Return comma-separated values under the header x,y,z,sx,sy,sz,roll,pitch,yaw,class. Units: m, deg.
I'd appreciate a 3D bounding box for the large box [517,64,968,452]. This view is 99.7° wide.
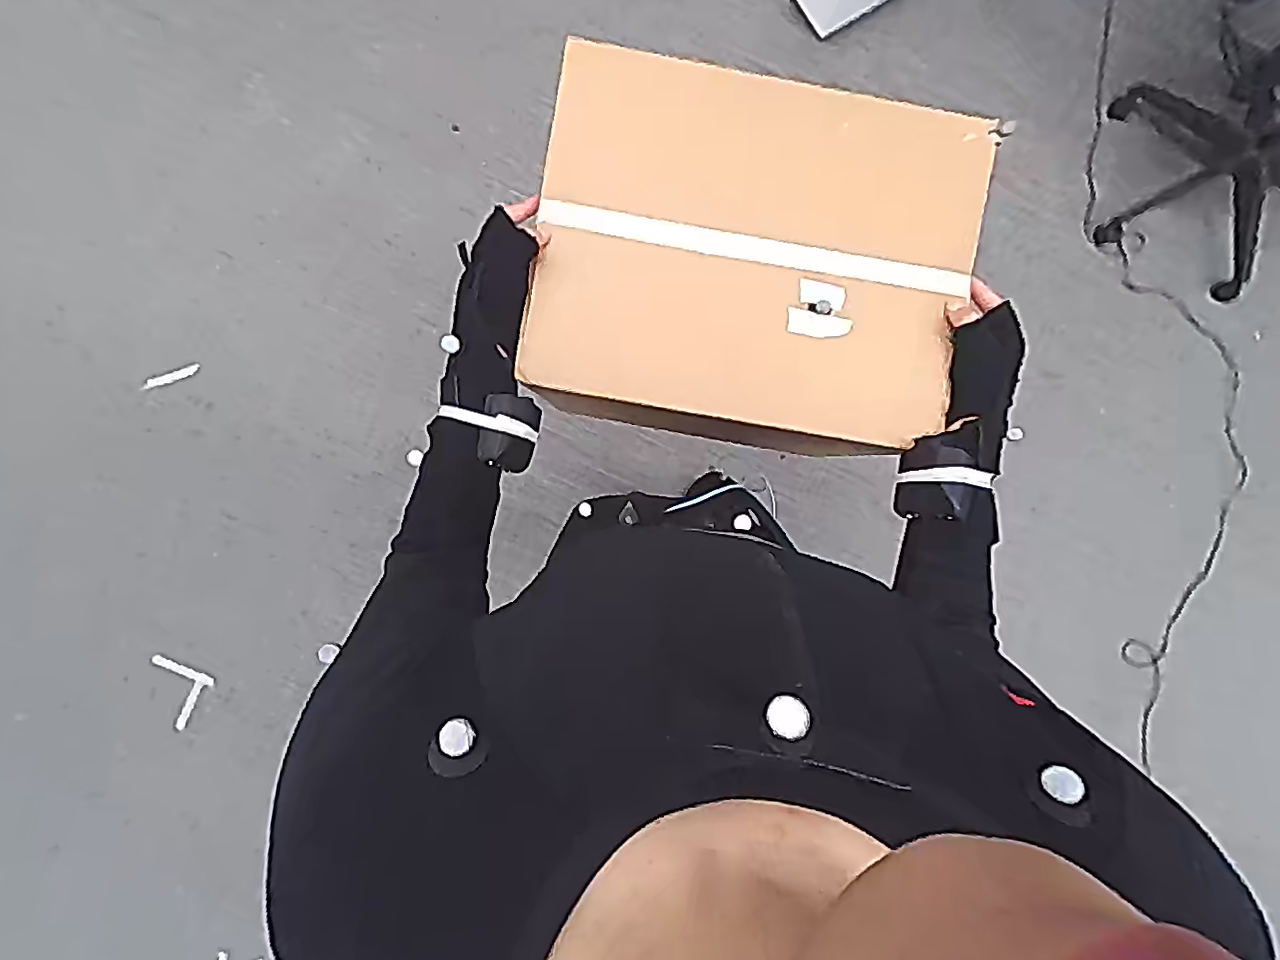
x,y,z,sx,sy,sz,roll,pitch,yaw,class
0.091,-0.214,0.661,0.408,0.320,0.320,9,93,-3,large box
